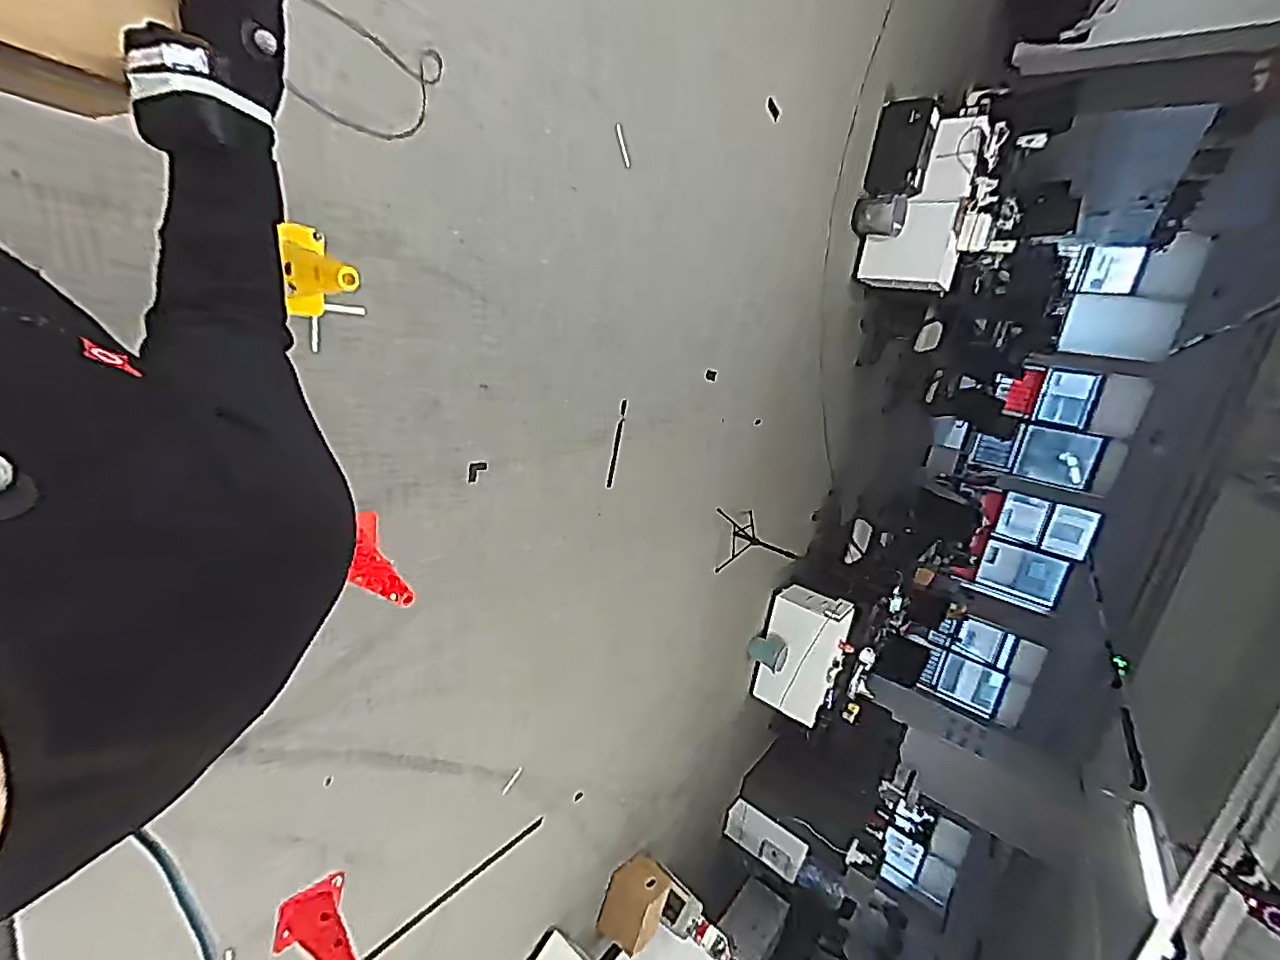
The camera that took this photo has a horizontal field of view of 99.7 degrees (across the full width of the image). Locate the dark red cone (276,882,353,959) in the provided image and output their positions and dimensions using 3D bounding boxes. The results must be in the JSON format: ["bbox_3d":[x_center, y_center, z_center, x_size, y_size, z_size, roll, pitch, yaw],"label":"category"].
[{"bbox_3d":[-0.960,1.501,1.691,0.201,0.394,0.202,1,106,-53],"label":"dark red cone"}]

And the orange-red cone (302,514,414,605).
[{"bbox_3d":[-0.719,0.247,1.443,0.198,0.360,0.199,-13,115,-52],"label":"orange-red cone"}]

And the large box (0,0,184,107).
[{"bbox_3d":[-0.538,-0.451,0.274,0.408,0.320,0.320,-9,117,-53],"label":"large box"}]
